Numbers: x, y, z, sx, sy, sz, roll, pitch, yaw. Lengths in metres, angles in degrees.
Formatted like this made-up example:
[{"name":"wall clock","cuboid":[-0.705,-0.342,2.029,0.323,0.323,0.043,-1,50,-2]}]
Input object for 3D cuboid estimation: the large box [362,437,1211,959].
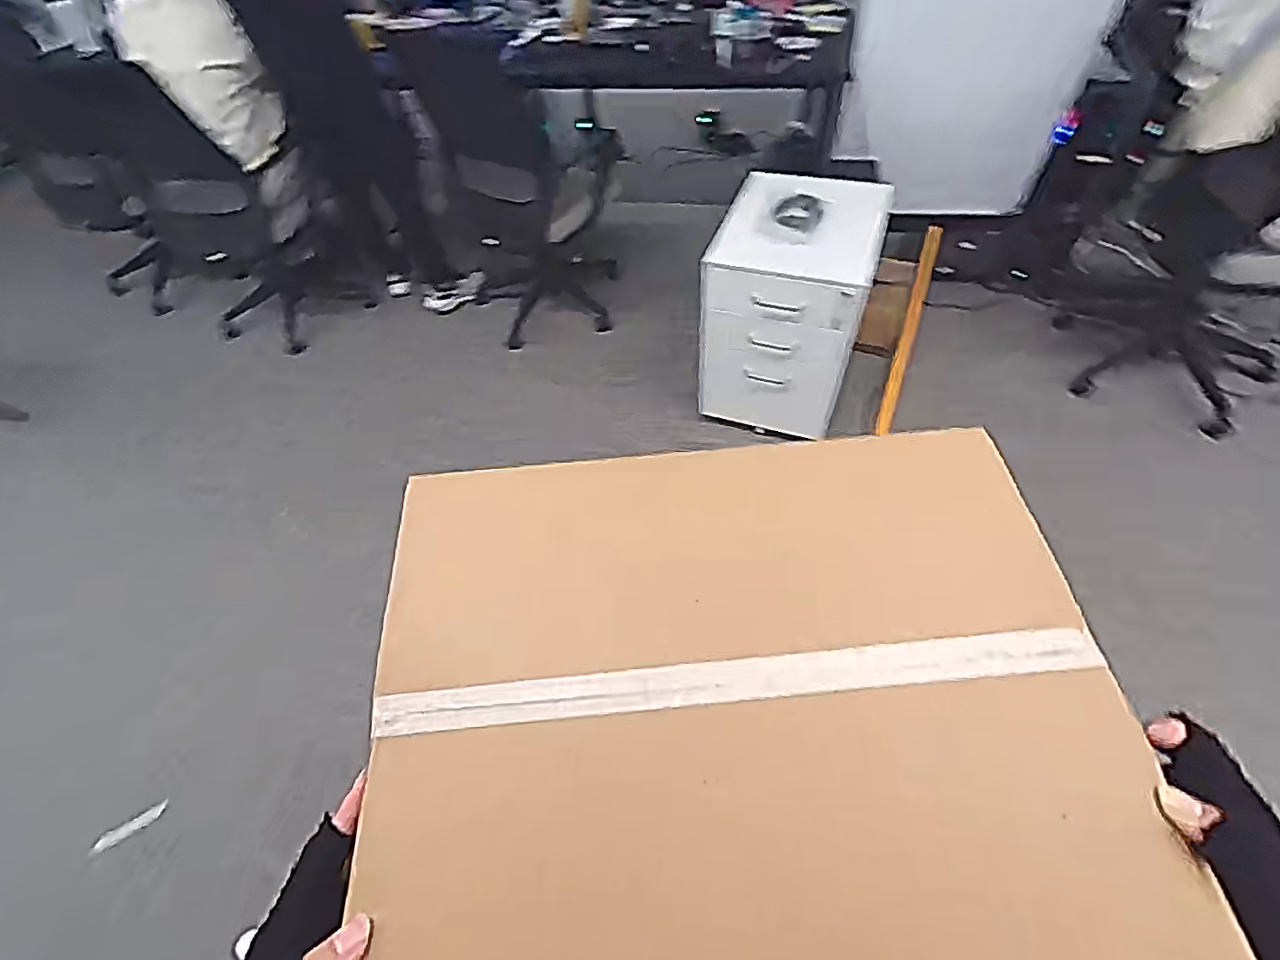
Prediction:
[{"name":"large box","cuboid":[0.055,0.196,0.444,0.408,0.320,0.320,-6,60,-1]}]
